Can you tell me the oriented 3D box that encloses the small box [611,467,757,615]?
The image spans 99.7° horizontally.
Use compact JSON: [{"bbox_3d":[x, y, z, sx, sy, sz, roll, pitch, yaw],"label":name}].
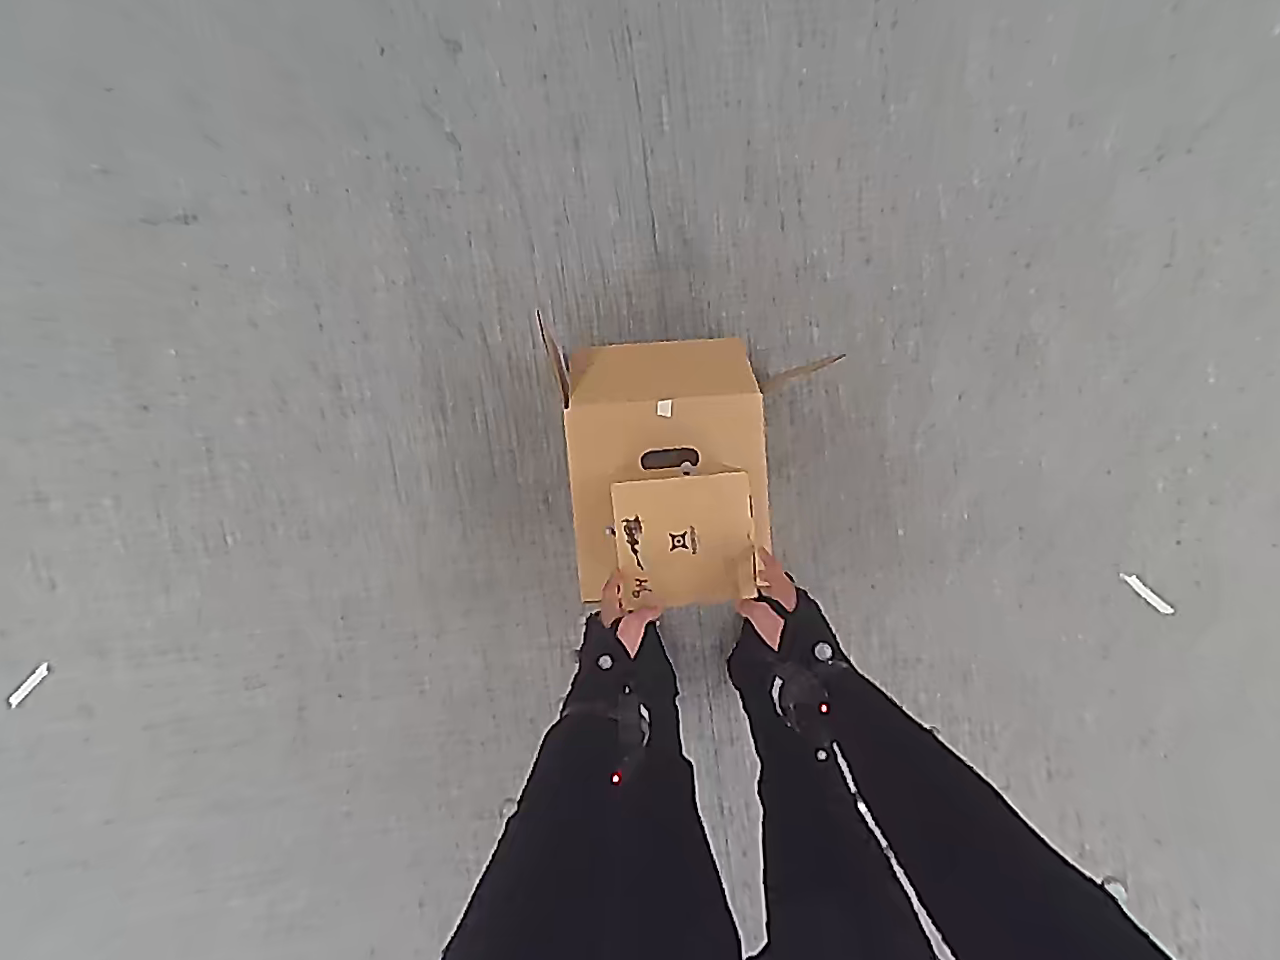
[{"bbox_3d":[0.052,0.074,0.753,0.179,0.176,0.168,-5,95,-2],"label":"small box"}]
